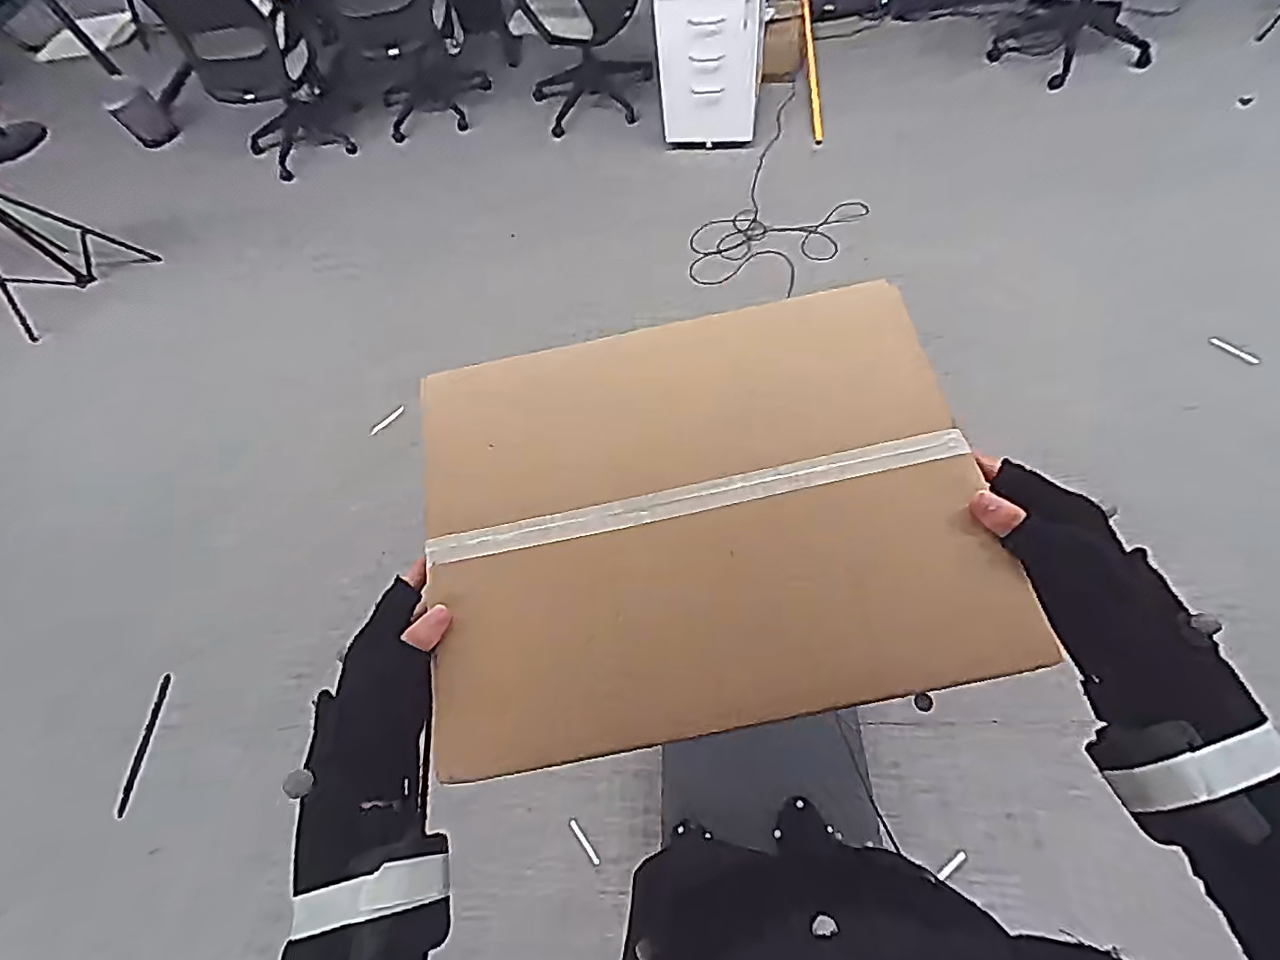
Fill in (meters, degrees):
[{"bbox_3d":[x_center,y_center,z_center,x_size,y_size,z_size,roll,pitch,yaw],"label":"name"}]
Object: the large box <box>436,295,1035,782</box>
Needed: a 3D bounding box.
[{"bbox_3d":[0.059,0.072,0.553,0.408,0.320,0.320,-12,68,1],"label":"large box"}]
